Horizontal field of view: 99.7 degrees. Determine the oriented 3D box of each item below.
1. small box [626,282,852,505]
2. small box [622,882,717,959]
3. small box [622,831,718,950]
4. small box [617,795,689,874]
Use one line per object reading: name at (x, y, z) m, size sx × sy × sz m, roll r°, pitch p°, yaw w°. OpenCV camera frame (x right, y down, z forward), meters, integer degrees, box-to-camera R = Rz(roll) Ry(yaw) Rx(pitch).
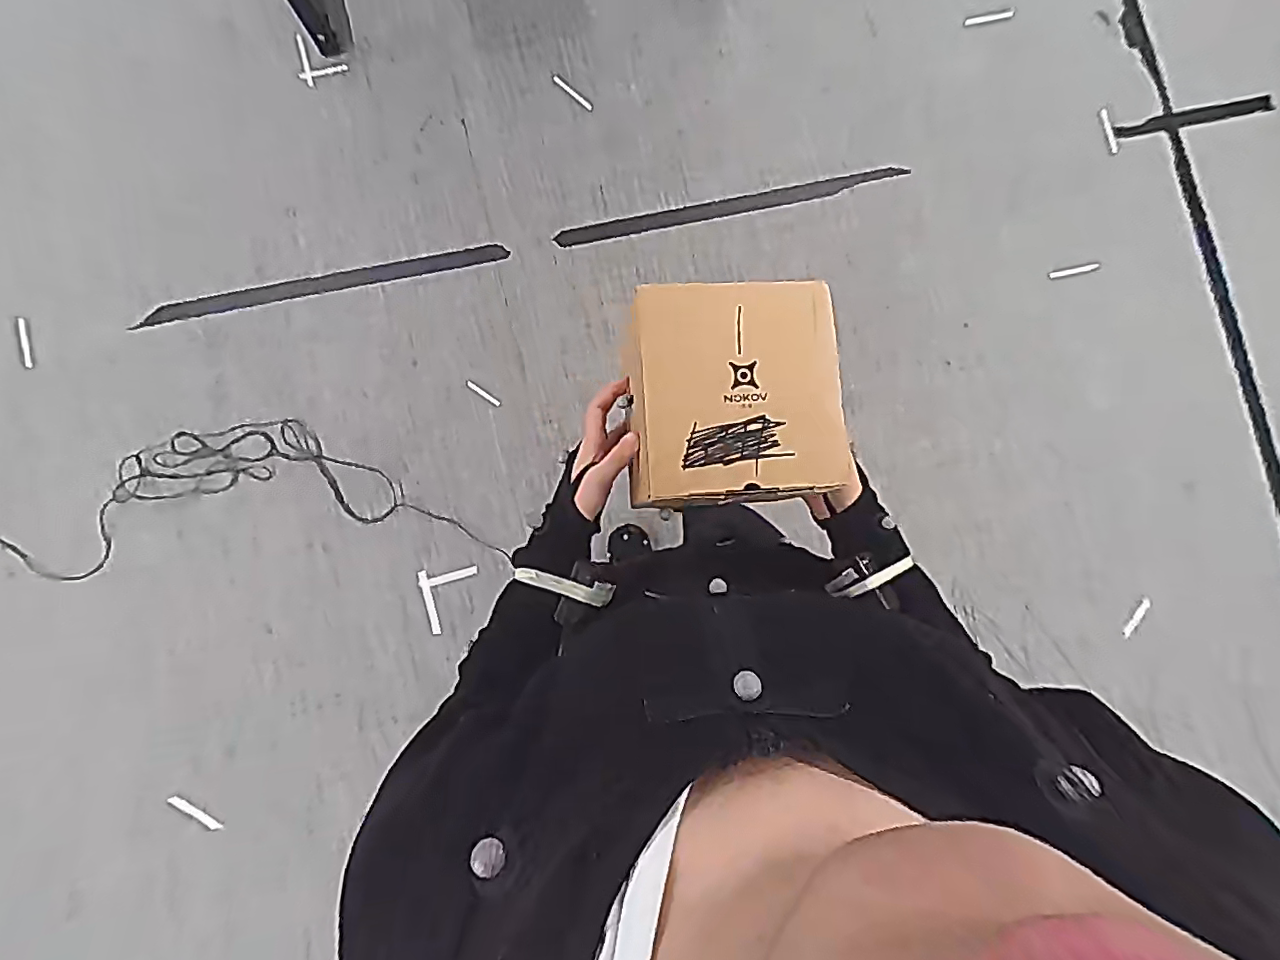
small box at (0.078, -0.068, 0.514) m, size 0.168 × 0.176 × 0.179 m, roll -3°, pitch 84°, yaw -7°
small box at (0.061, 0.922, 1.046) m, size 0.168 × 0.176 × 0.179 m, roll -11°, pitch 87°, yaw -4°
small box at (0.059, 0.926, 1.210) m, size 0.179 × 0.176 × 0.168 m, roll -11°, pitch 87°, yaw -4°
small box at (0.044, 0.940, 1.373) m, size 0.179 × 0.176 × 0.168 m, roll -13°, pitch 87°, yaw -4°
